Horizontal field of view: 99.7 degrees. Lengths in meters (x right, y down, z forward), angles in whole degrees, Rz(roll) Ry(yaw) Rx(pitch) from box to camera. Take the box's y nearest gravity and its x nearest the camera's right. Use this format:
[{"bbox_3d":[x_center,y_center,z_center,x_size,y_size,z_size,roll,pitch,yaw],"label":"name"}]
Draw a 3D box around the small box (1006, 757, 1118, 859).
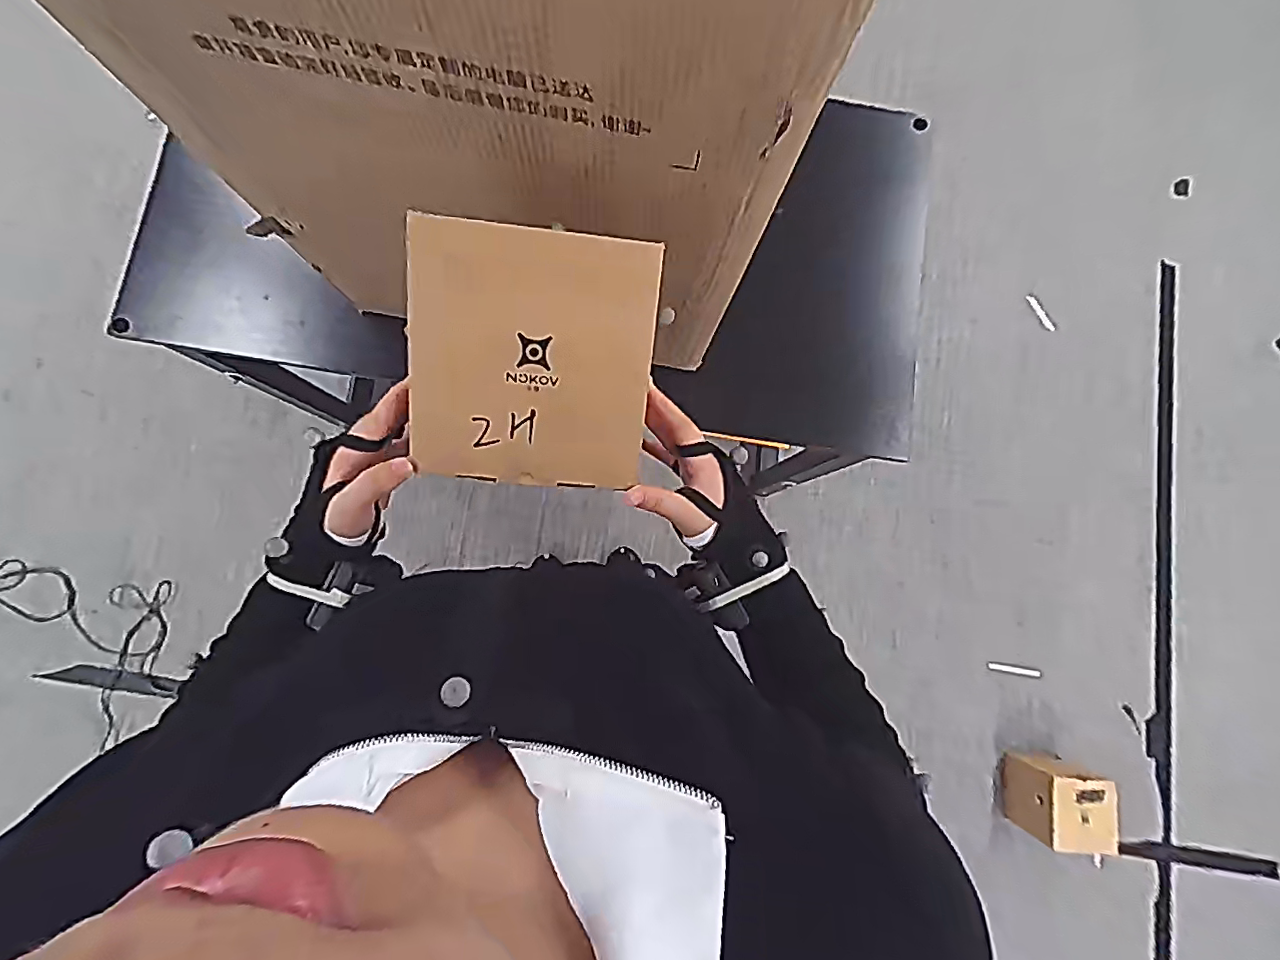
[{"bbox_3d":[1.090,0.844,1.408,0.168,0.176,0.179,6,83,-2],"label":"small box"}]
